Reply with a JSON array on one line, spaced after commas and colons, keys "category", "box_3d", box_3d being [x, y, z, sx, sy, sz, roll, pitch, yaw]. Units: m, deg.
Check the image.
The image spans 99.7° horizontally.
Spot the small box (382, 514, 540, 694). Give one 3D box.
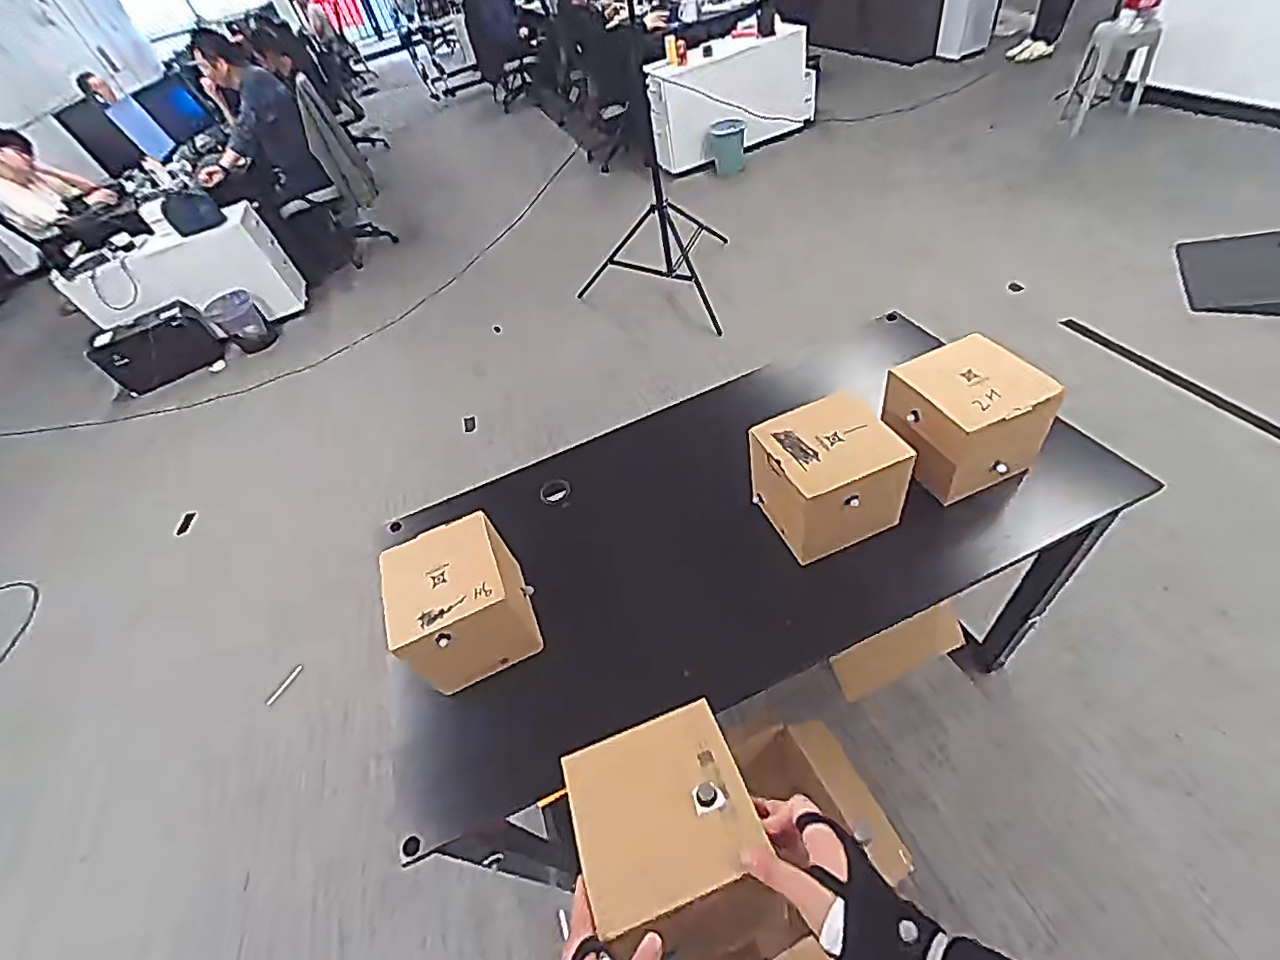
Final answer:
[{"category": "small box", "box_3d": [-0.270, 0.190, 0.826, 0.168, 0.176, 0.179, -24, 48, -7]}]

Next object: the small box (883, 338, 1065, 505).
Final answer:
[{"category": "small box", "box_3d": [0.515, -0.092, 0.872, 0.168, 0.176, 0.179, -23, 47, -4]}]

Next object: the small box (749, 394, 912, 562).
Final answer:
[{"category": "small box", "box_3d": [0.289, 0.002, 0.849, 0.179, 0.176, 0.168, -22, 48, -6]}]
